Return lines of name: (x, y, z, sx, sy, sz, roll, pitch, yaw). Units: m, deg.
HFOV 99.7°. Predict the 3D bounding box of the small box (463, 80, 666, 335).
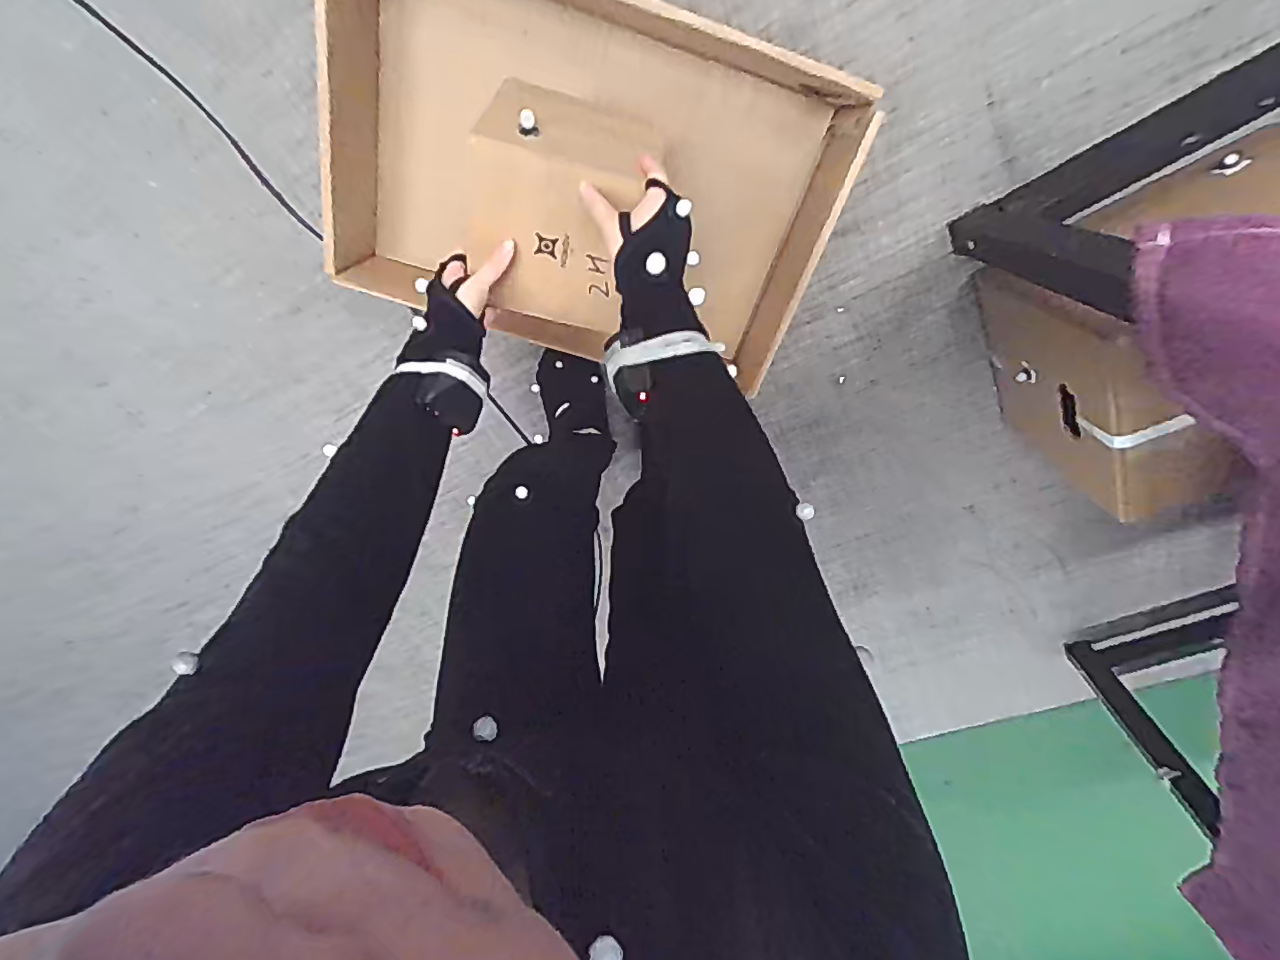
small box: (-0.079, -0.290, 0.578, 0.179, 0.176, 0.168, 12, 143, -9)
